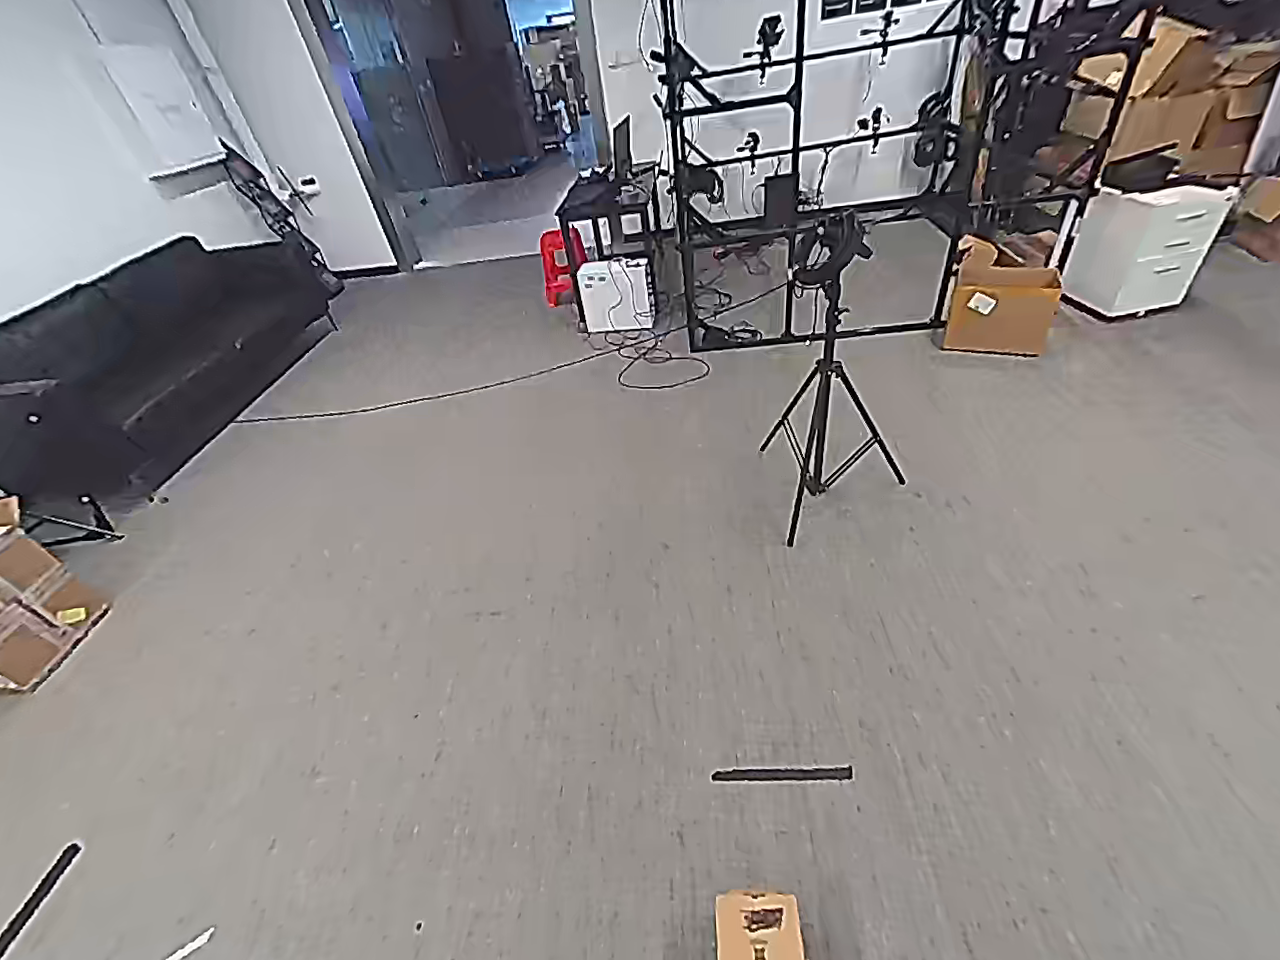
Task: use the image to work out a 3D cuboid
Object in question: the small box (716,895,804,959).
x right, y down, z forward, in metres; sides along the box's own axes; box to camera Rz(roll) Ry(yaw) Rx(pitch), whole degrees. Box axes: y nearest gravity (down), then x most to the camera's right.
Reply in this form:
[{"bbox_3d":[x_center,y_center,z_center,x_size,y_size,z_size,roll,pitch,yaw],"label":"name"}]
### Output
[{"bbox_3d":[0.241,0.972,1.093,0.168,0.176,0.179,-5,40,7],"label":"small box"}]
